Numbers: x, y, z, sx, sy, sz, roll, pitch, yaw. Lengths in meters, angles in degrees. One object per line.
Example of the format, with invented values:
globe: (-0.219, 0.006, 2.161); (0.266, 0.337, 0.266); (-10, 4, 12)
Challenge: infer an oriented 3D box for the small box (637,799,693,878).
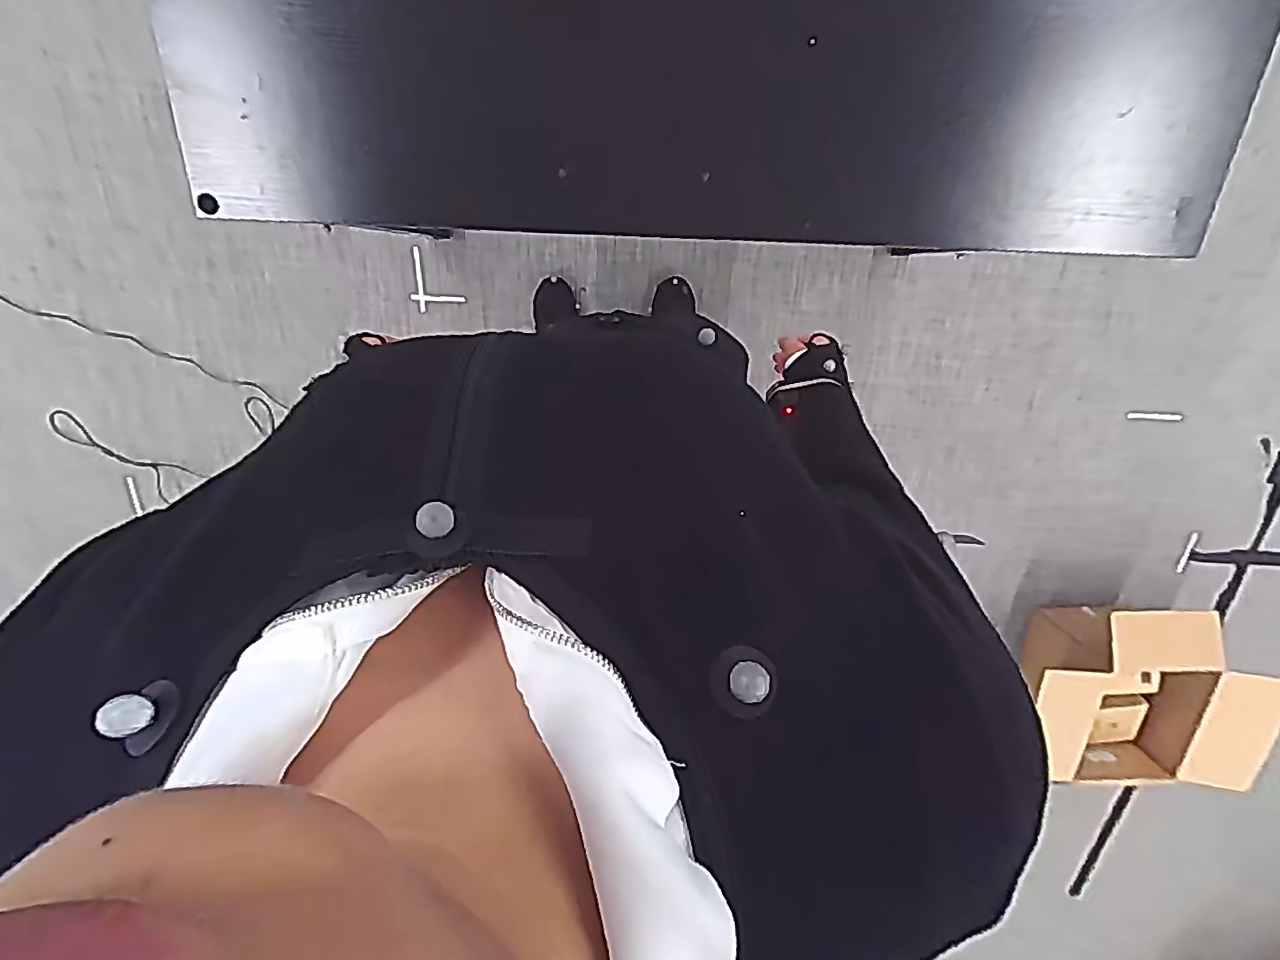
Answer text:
small box: (0.083, 1.253, 1.897); (0.179, 0.176, 0.168); (5, 109, -1)
